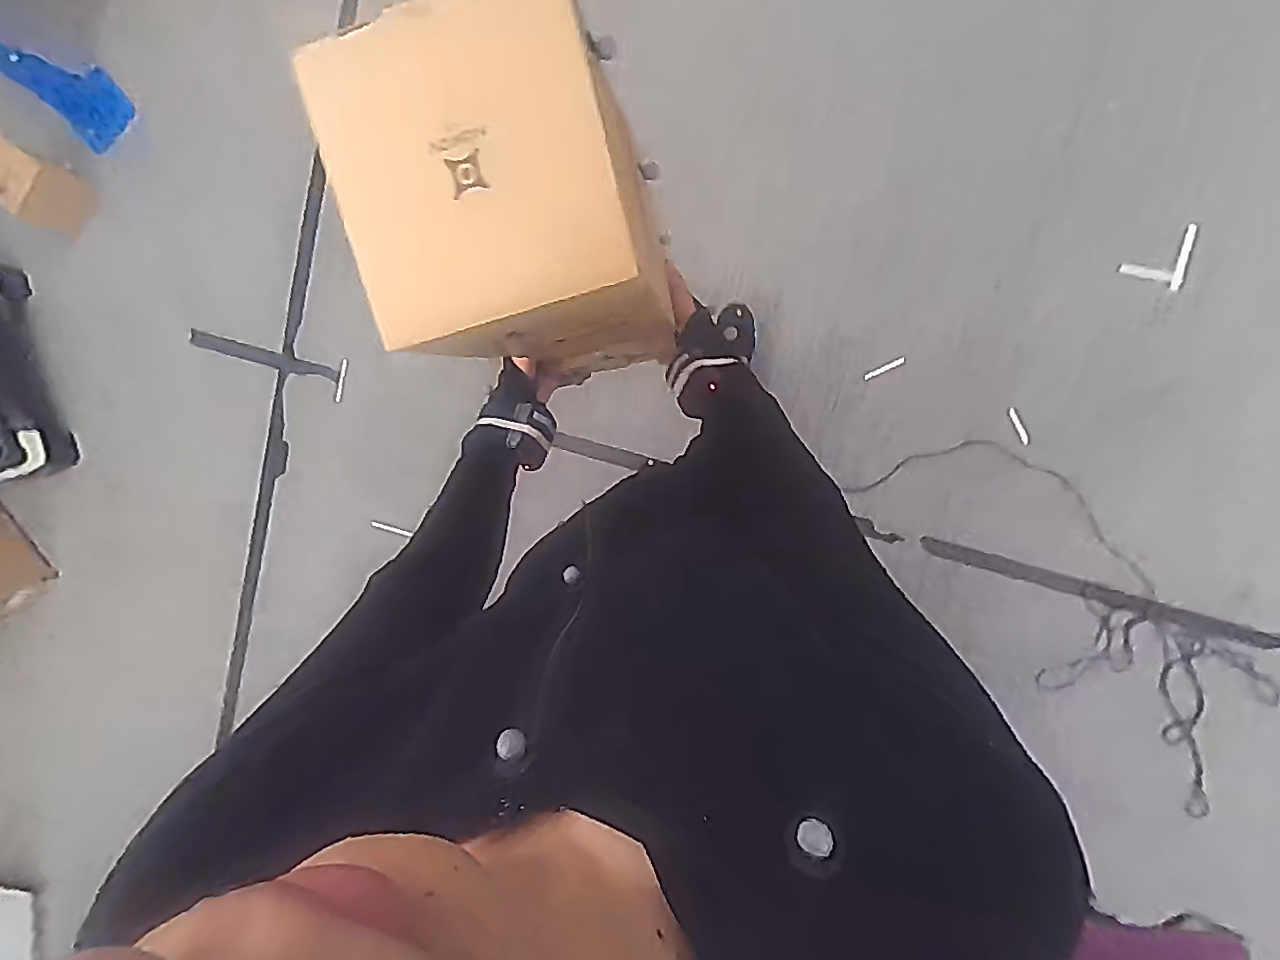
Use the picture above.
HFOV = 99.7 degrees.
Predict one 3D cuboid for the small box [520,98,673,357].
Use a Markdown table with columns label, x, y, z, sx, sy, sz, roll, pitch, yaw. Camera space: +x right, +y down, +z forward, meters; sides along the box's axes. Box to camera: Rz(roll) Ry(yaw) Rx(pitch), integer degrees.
| label | x | y | z | sx | sy | sz | roll | pitch | yaw |
| --- | --- | --- | --- | --- | --- | --- | --- | --- | --- |
| small box | -0.065 | -0.227 | 0.539 | 0.168 | 0.176 | 0.179 | -11 | 100 | 9 |

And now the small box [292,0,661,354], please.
| label | x | y | z | sx | sy | sz | roll | pitch | yaw |
| --- | --- | --- | --- | --- | --- | --- | --- | --- | --- |
| small box | -0.087 | -0.194 | 0.382 | 0.168 | 0.176 | 0.179 | -14 | 98 | 10 |
